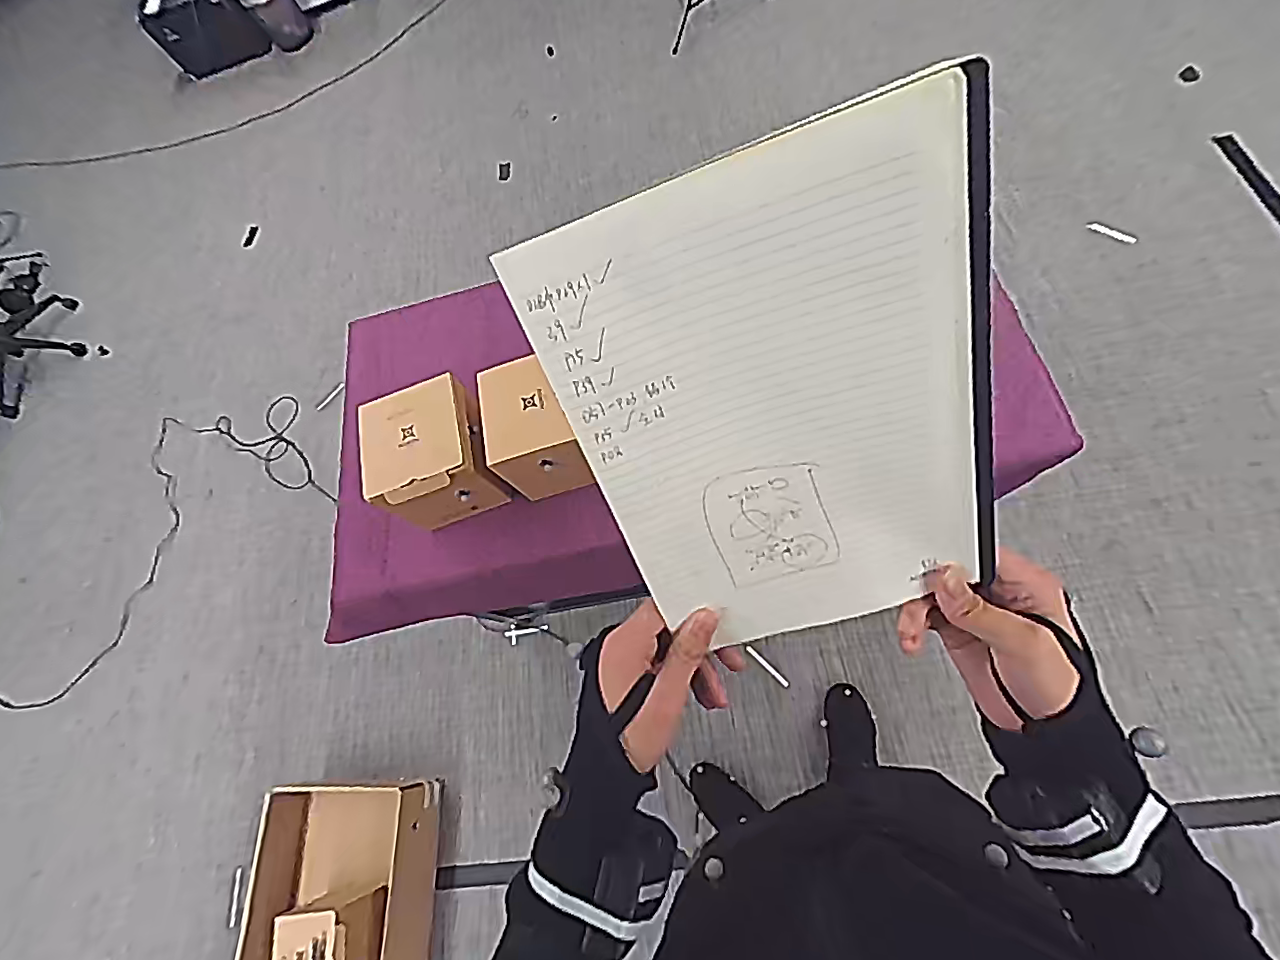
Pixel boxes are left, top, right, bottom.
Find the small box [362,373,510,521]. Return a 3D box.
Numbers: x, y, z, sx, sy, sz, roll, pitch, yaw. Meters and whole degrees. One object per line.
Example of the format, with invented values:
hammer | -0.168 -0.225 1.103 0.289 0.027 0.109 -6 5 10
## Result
small box | -0.336 -0.042 0.909 0.168 0.176 0.179 -19 66 5
